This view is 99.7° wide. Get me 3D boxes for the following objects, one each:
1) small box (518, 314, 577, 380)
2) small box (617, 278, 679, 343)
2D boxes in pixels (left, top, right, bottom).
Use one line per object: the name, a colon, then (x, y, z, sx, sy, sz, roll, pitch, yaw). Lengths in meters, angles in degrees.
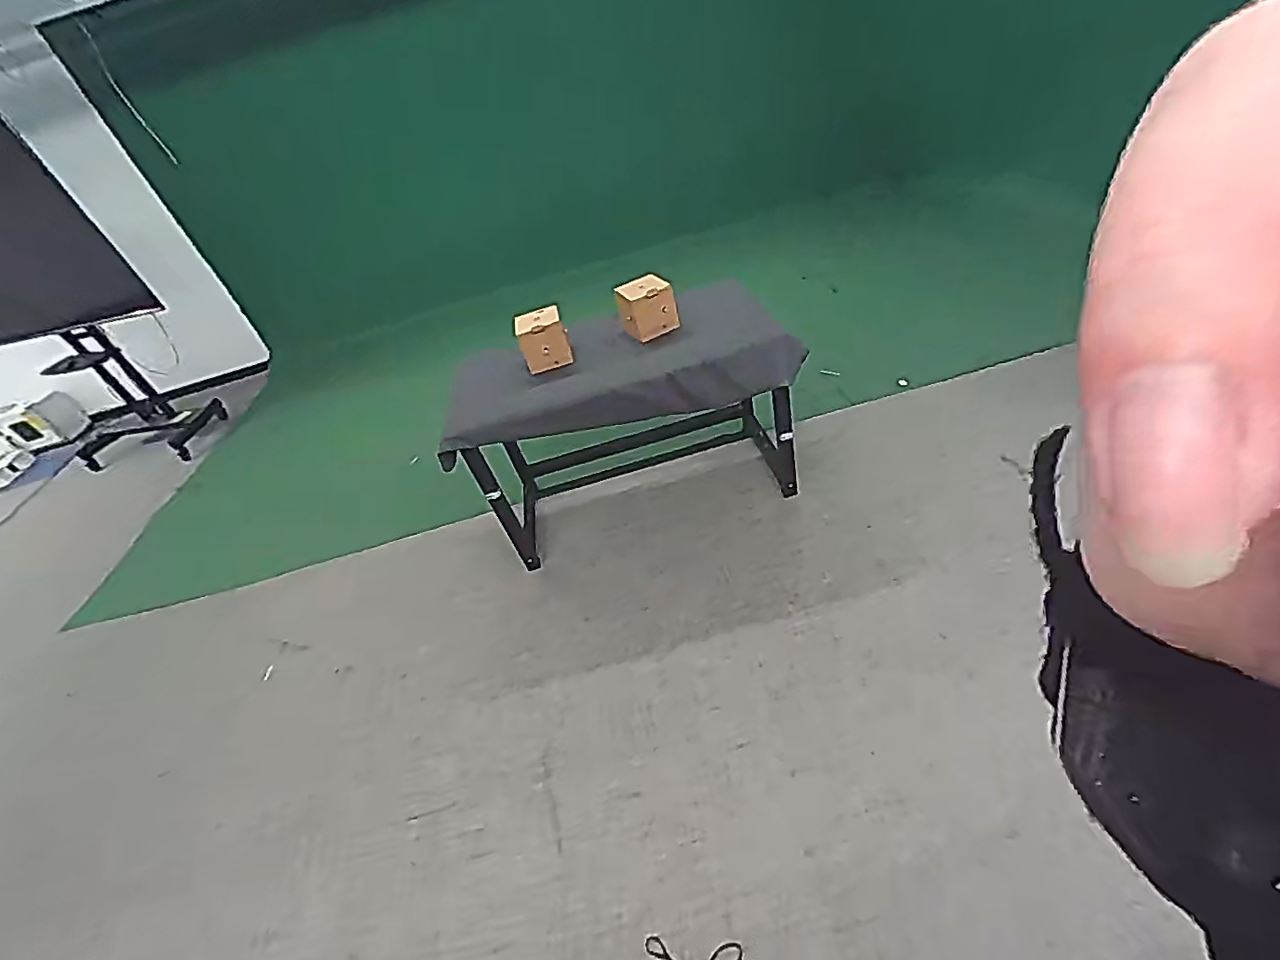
small box: (-0.347, -0.499, 2.047, 0.168, 0.176, 0.179, -20, 38, -2)
small box: (0.033, -0.635, 2.034, 0.168, 0.176, 0.179, -23, 38, -11)
